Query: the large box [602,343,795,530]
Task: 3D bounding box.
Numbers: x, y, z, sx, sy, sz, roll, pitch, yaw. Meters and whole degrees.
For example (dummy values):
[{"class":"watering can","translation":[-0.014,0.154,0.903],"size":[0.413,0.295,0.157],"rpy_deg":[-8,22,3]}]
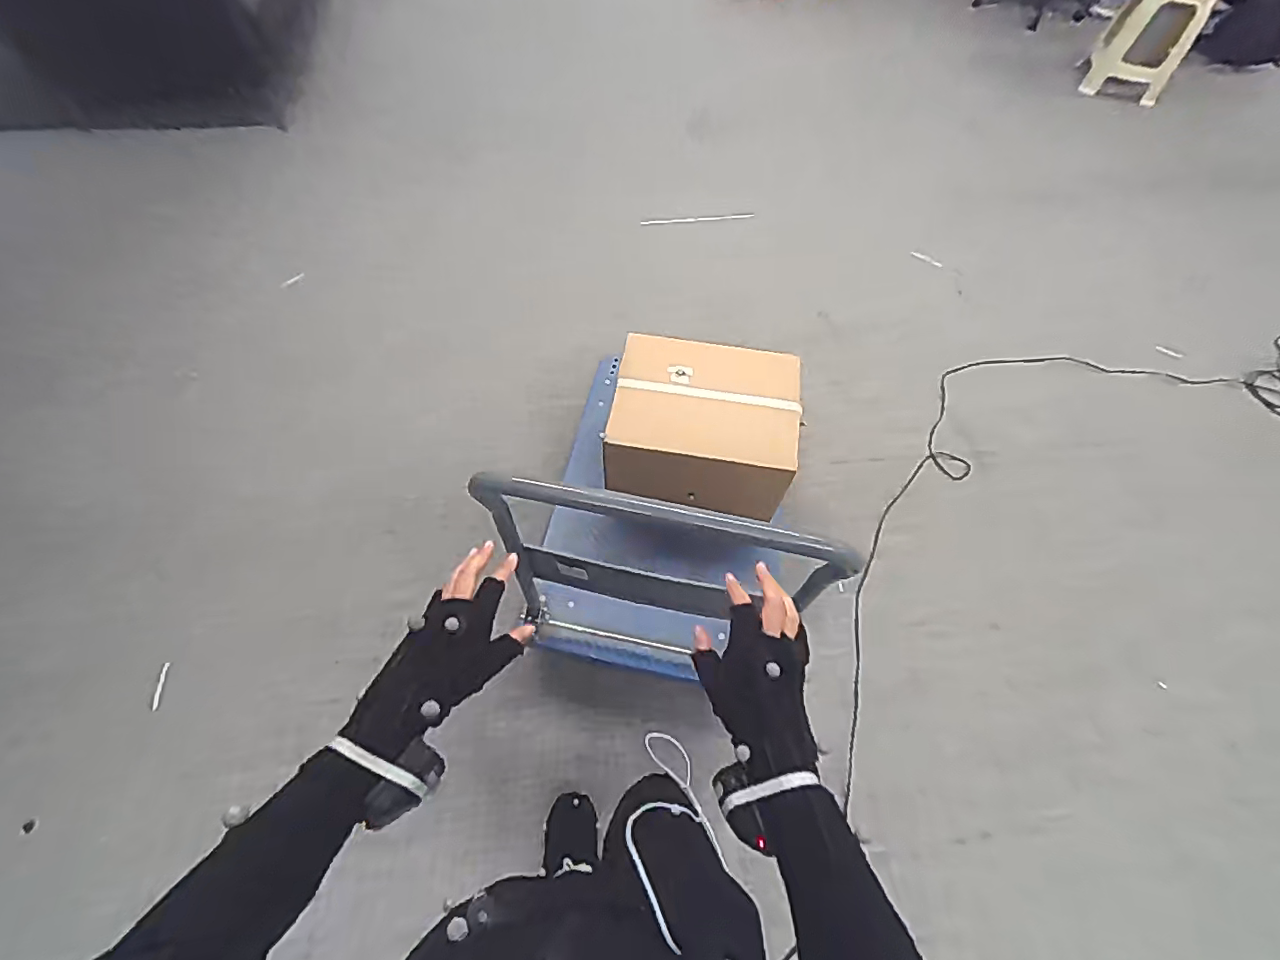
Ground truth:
[{"class":"large box","translation":[0.142,-0.096,1.317],"size":[0.408,0.320,0.320],"rpy_deg":[8,60,5]}]
